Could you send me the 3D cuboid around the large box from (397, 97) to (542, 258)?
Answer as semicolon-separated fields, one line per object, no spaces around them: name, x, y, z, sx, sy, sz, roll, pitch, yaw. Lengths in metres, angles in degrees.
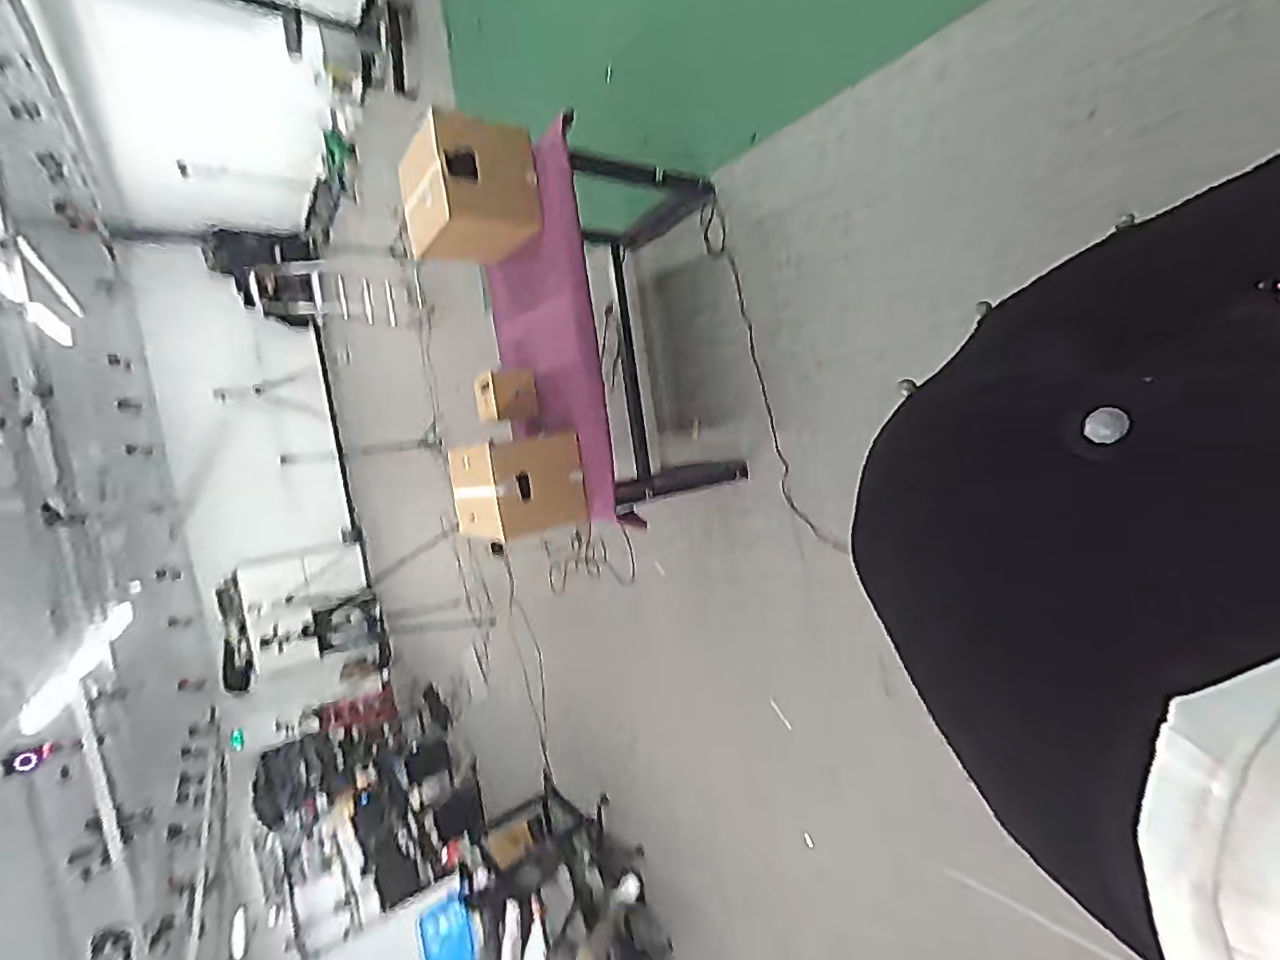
large box;-0.572;-0.964;1.793;0.408;0.320;0.320;1;102;52
